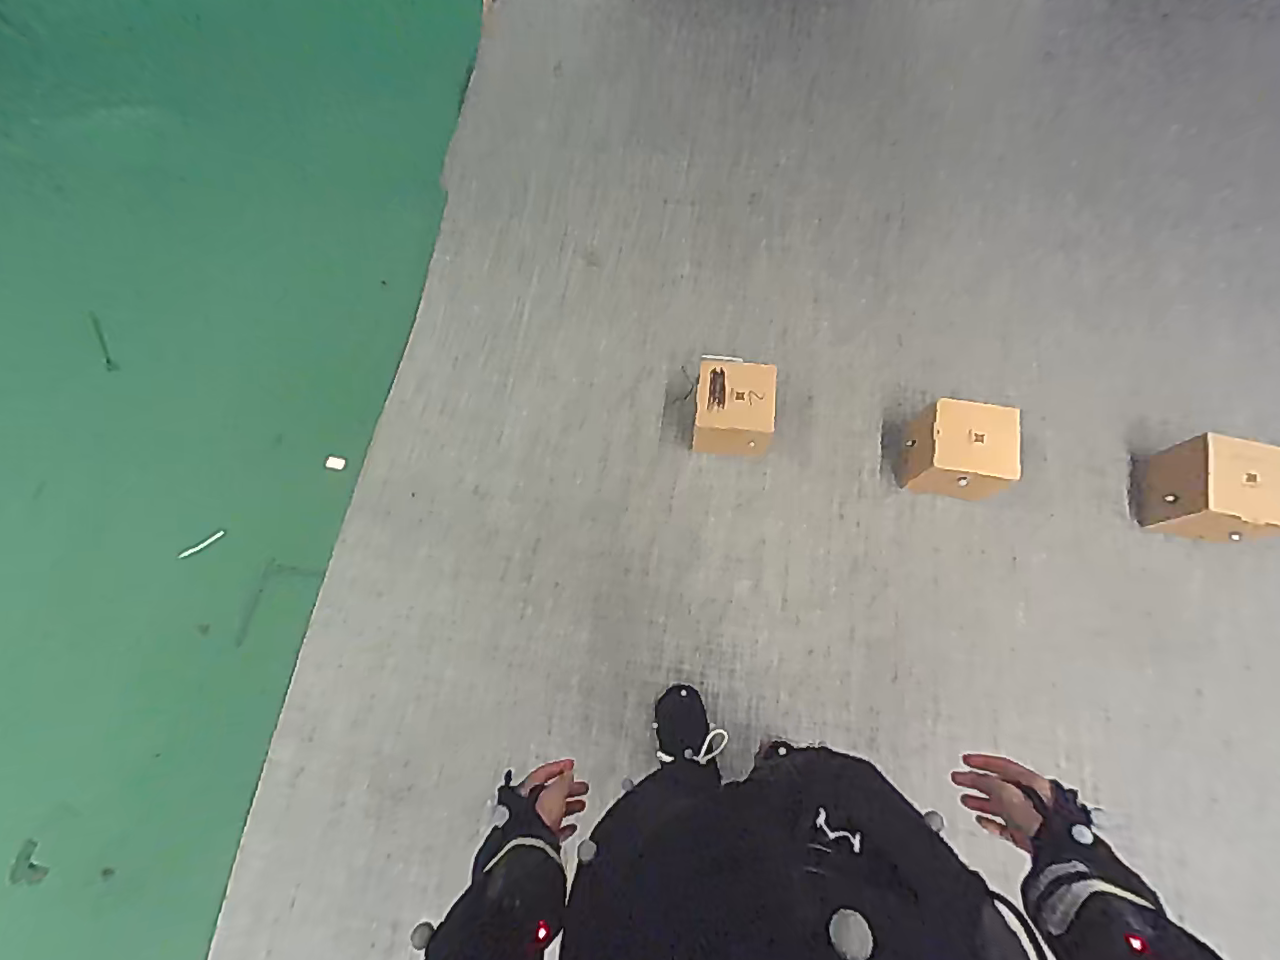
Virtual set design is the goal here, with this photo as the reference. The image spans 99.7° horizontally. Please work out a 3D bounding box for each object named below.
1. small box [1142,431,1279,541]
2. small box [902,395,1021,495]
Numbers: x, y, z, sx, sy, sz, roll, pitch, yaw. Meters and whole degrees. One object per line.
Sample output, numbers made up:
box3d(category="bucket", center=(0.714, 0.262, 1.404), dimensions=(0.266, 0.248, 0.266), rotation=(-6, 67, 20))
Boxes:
box3d(category="small box", center=(1.230, 0.020, 1.159), dimensions=(0.168, 0.176, 0.179), rotation=(14, 74, 6))
box3d(category="small box", center=(0.718, -0.071, 1.218), dimensions=(0.179, 0.176, 0.168), rotation=(9, 74, 7))
